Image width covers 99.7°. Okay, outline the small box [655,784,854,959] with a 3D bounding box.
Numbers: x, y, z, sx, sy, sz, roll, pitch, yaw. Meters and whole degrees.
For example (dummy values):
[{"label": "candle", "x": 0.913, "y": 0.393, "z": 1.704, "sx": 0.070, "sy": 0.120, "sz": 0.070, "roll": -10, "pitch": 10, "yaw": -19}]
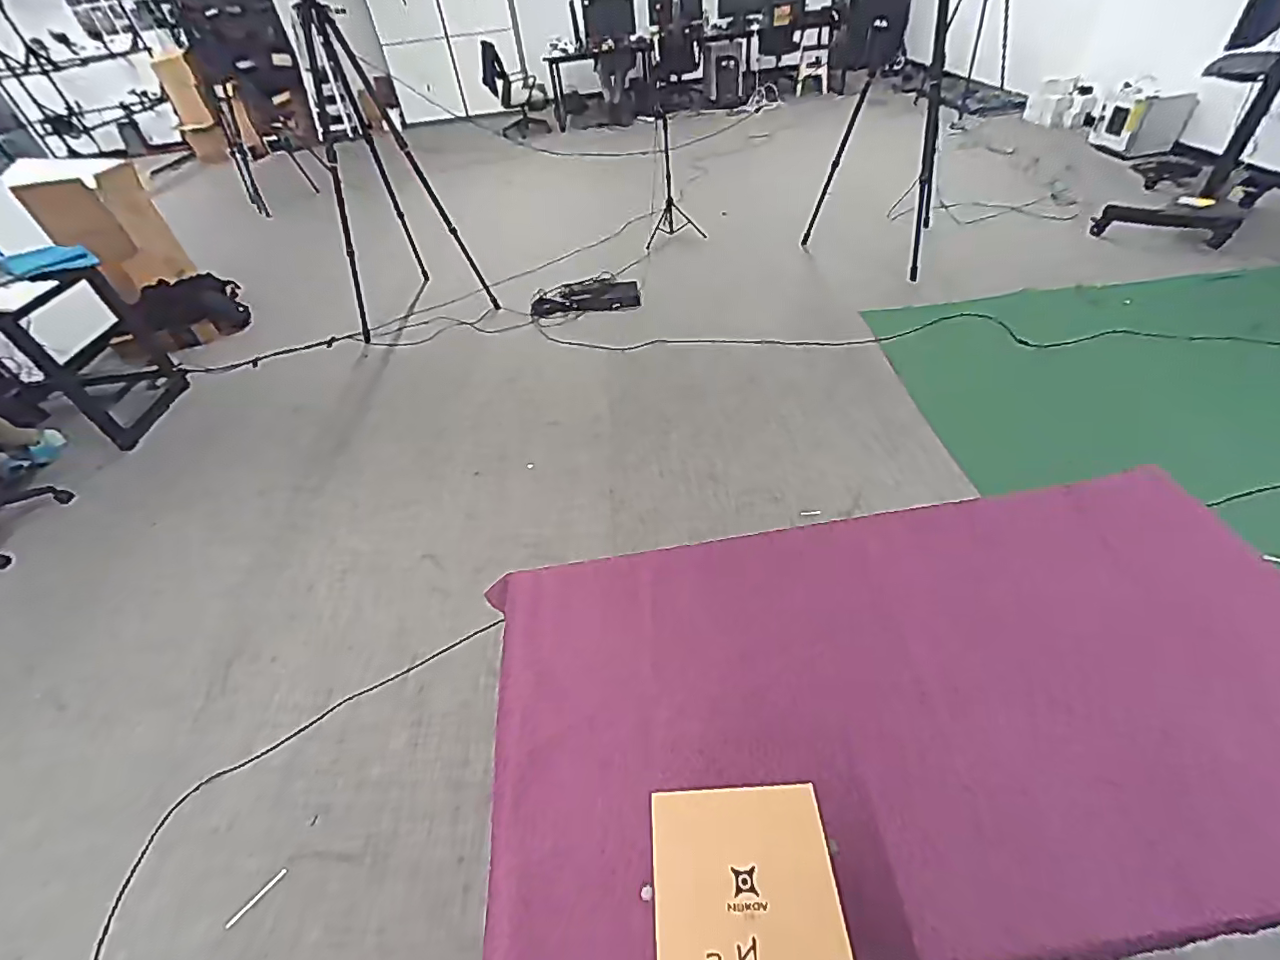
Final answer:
[{"label": "small box", "x": 0.104, "y": 0.430, "z": 0.541, "sx": 0.168, "sy": 0.176, "sz": 0.179, "roll": -6, "pitch": 43, "yaw": 3}]
